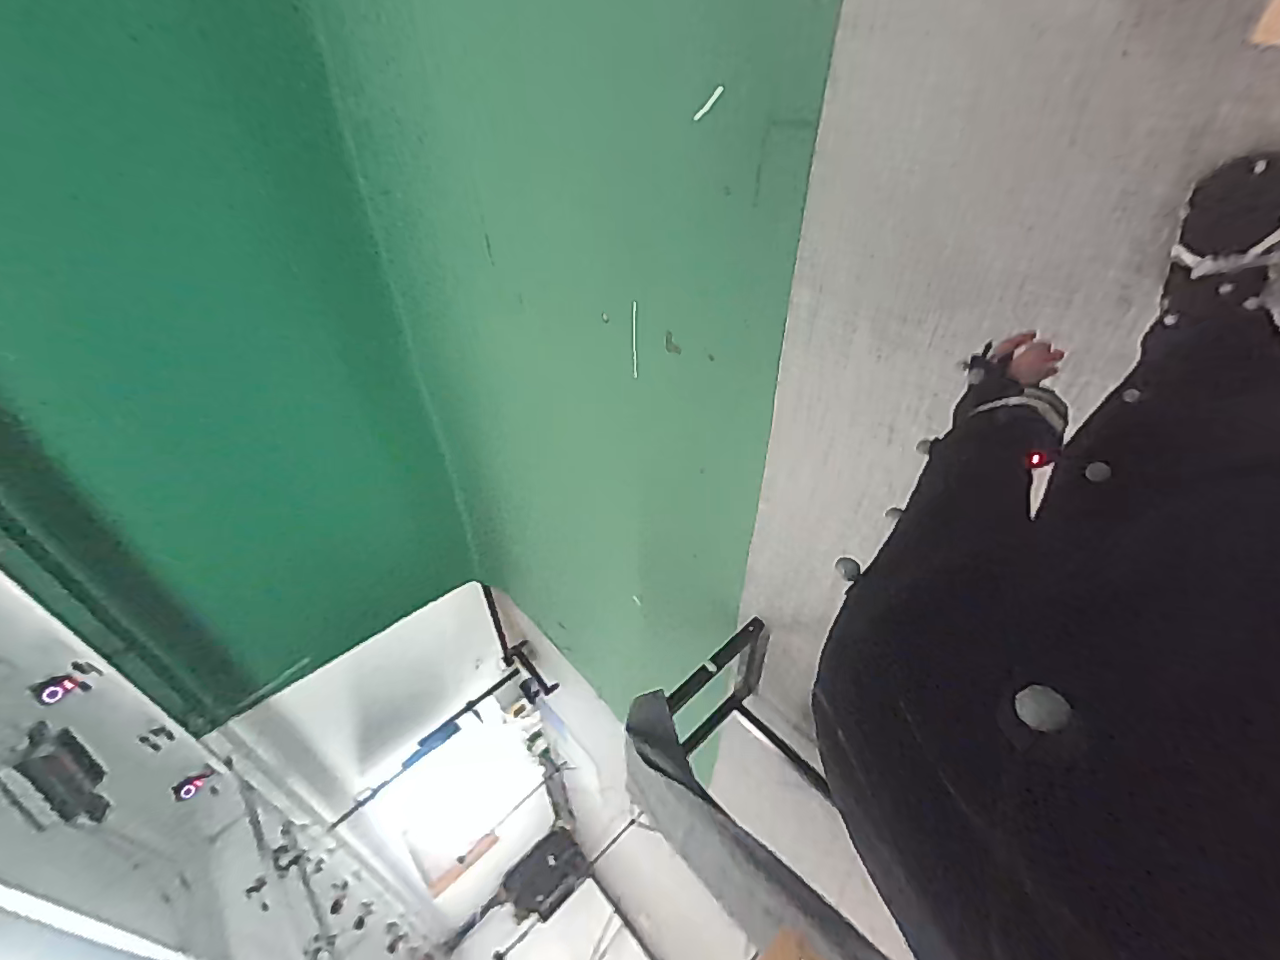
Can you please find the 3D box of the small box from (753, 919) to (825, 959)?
[{"bbox_3d":[0.425,1.406,1.526,0.168,0.176,0.179,26,135,42],"label":"small box"}]
